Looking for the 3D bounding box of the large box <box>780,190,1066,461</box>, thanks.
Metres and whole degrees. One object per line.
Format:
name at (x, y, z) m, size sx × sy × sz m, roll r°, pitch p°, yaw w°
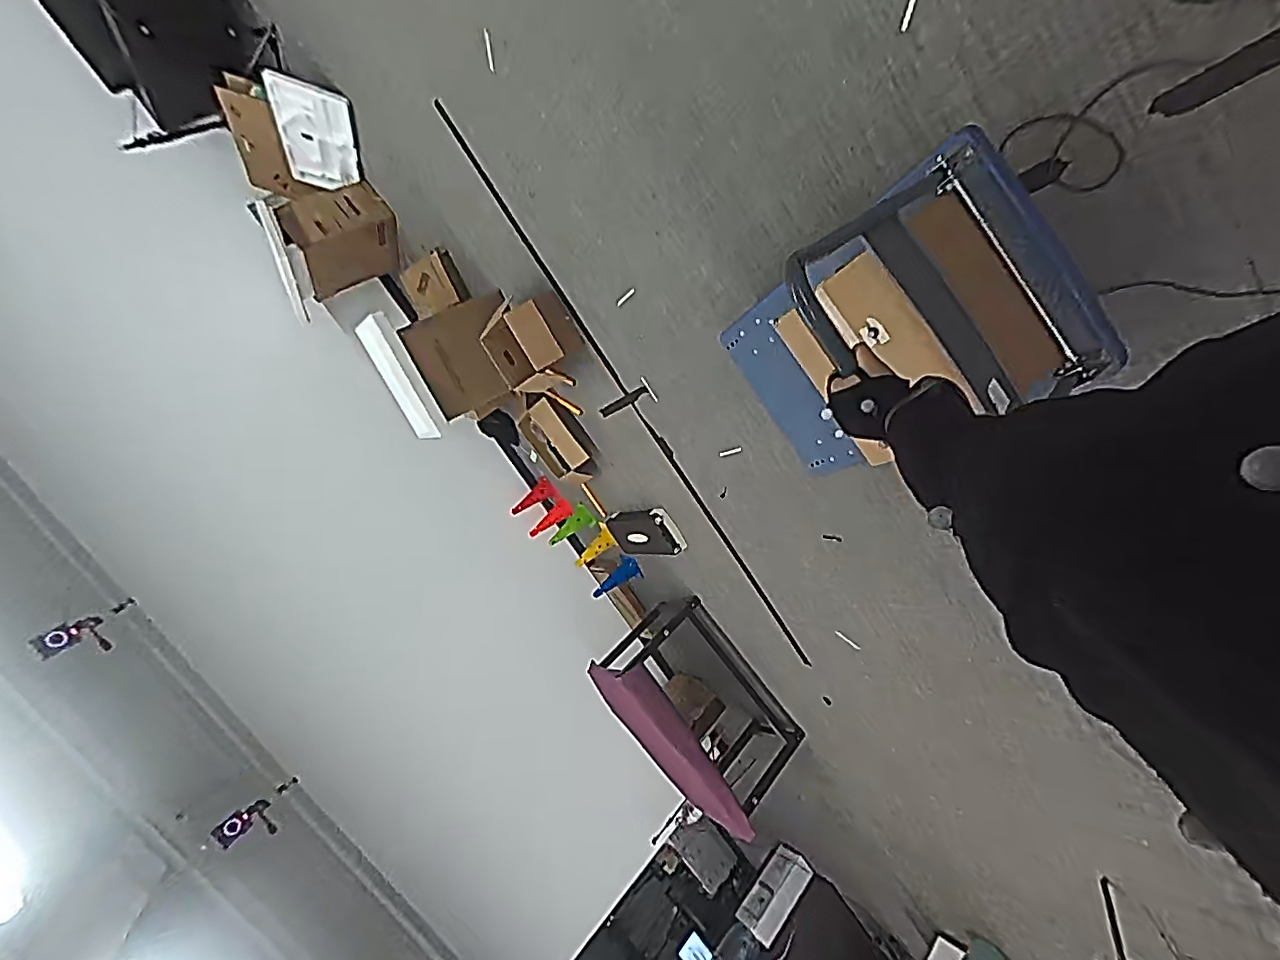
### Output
large box at (0.595, -0.315, 1.159) m, size 0.408 × 0.320 × 0.320 m, roll 54°, pitch 152°, yaw -3°
